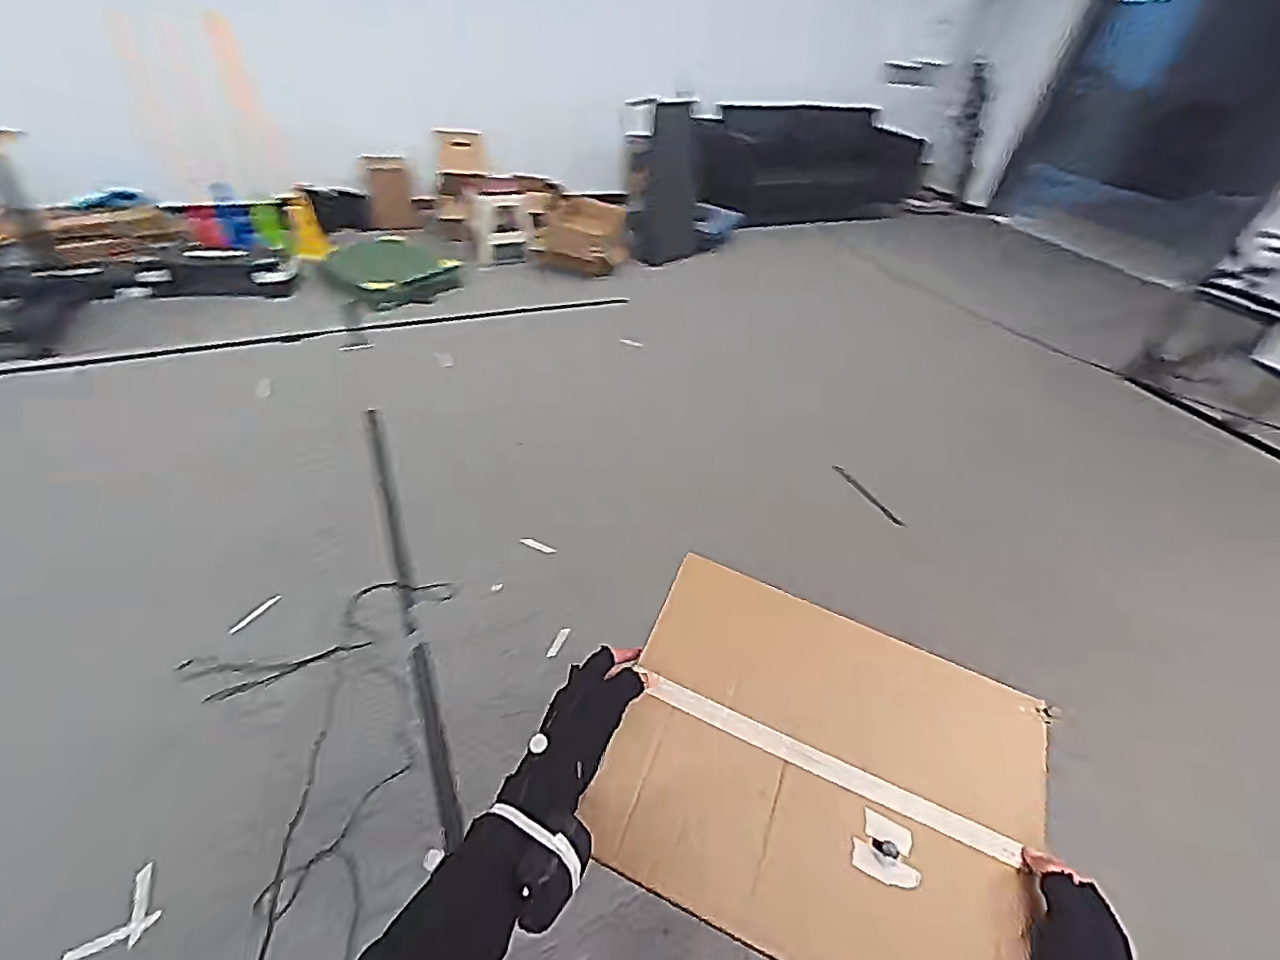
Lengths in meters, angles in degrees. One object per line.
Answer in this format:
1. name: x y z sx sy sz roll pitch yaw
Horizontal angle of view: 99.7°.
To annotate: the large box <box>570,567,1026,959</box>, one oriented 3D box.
1. large box: 0.162 0.365 0.658 0.408 0.320 0.320 21 58 10
